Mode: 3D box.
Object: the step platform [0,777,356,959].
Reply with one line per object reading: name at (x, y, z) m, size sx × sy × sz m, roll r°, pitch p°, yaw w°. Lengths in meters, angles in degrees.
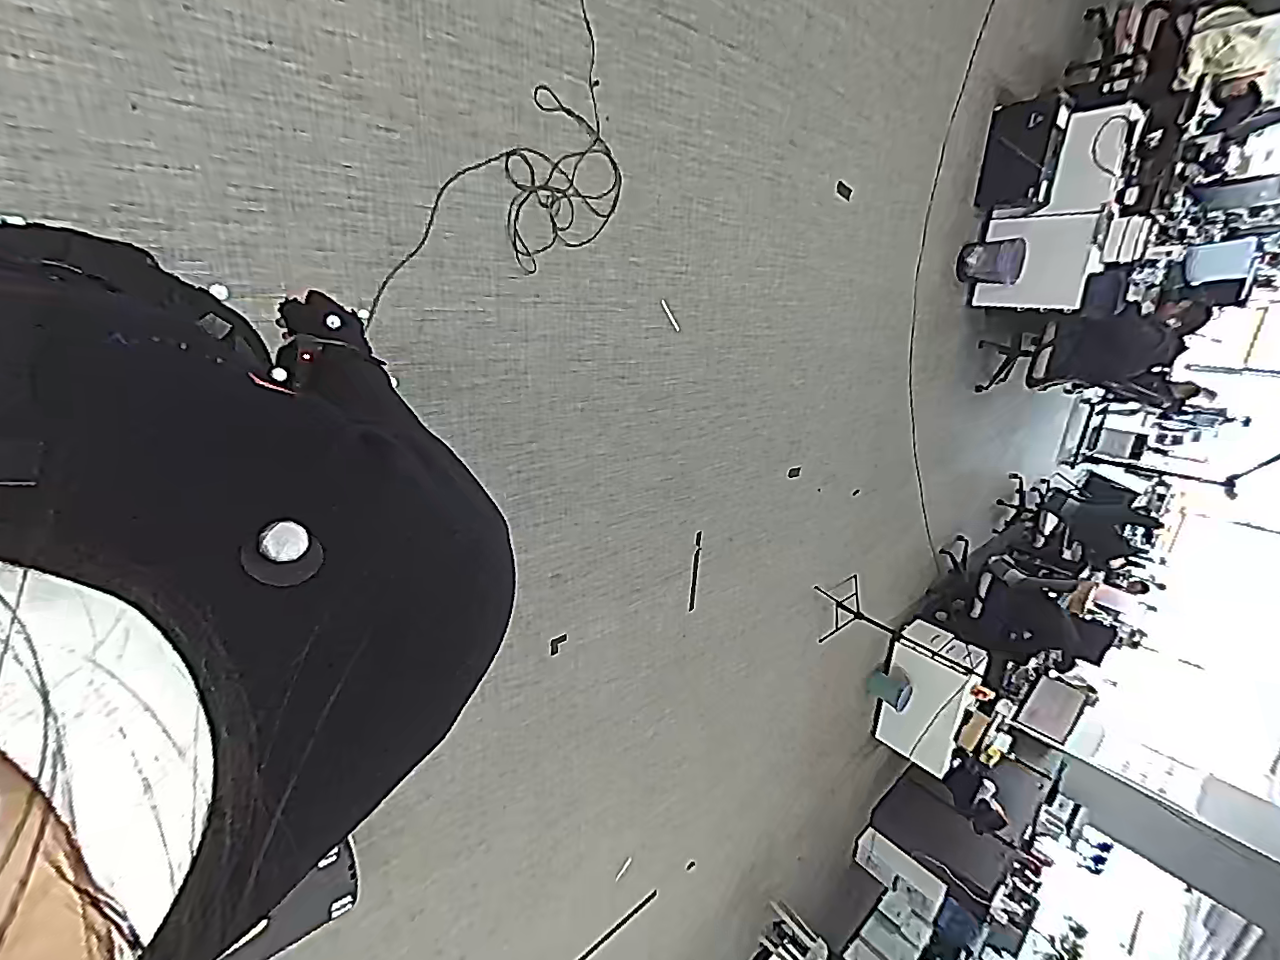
step platform at (-1.095, 1.069, 1.350) m, size 0.684 × 0.204 × 0.286 m, roll -15°, pitch 115°, yaw -37°
